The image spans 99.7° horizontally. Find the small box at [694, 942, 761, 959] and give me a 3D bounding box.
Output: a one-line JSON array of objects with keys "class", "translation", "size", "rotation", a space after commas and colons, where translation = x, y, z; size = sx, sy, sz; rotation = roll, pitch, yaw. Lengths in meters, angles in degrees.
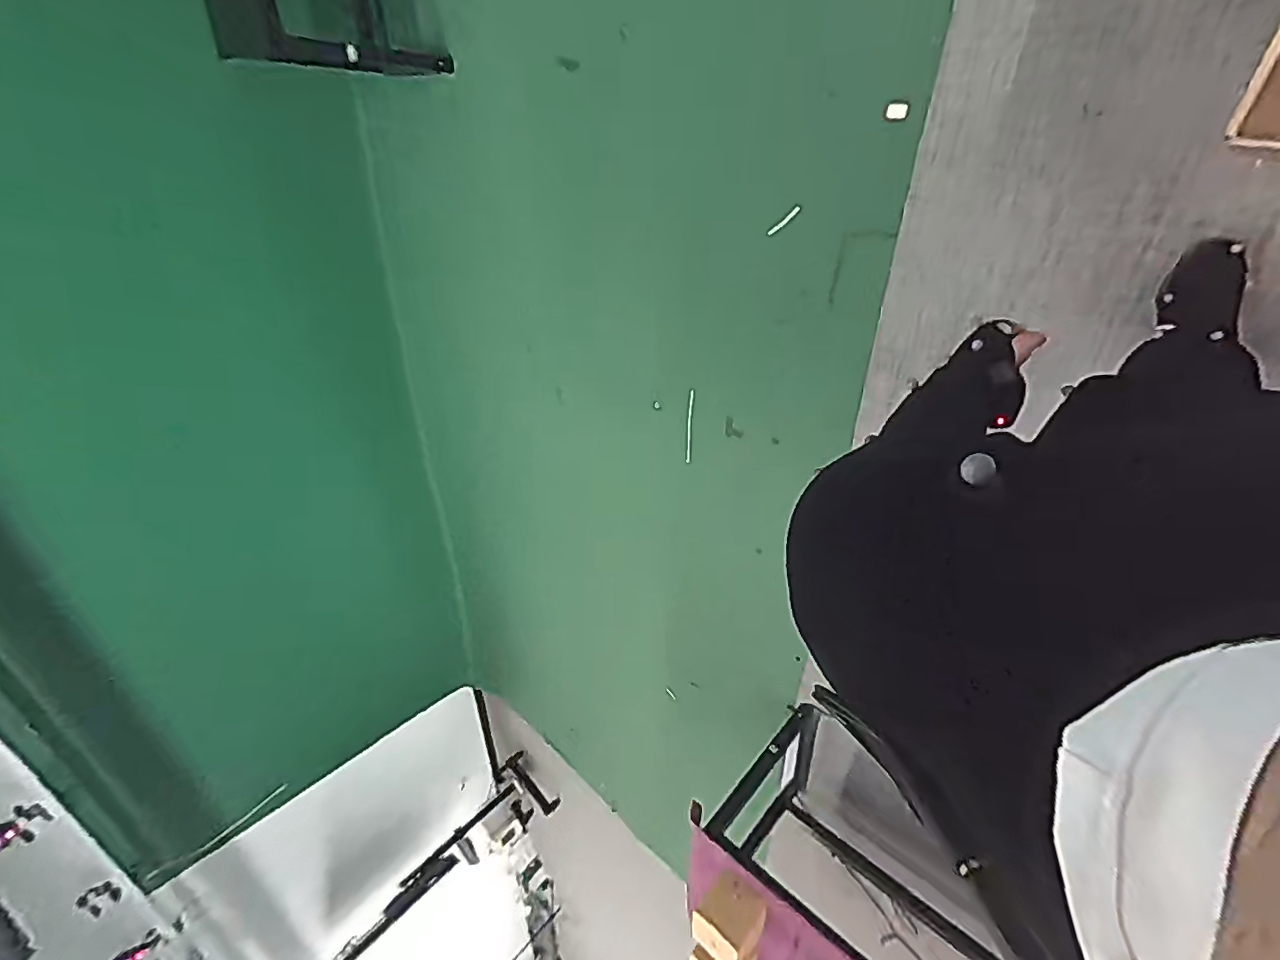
[{"class": "small box", "translation": [0.300, 1.658, 1.856], "size": [0.168, 0.176, 0.179], "rotation": [25, 128, 36]}]

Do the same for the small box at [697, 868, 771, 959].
[{"class": "small box", "translation": [0.296, 1.388, 1.704], "size": [0.168, 0.176, 0.179], "rotation": [22, 125, 37]}]
